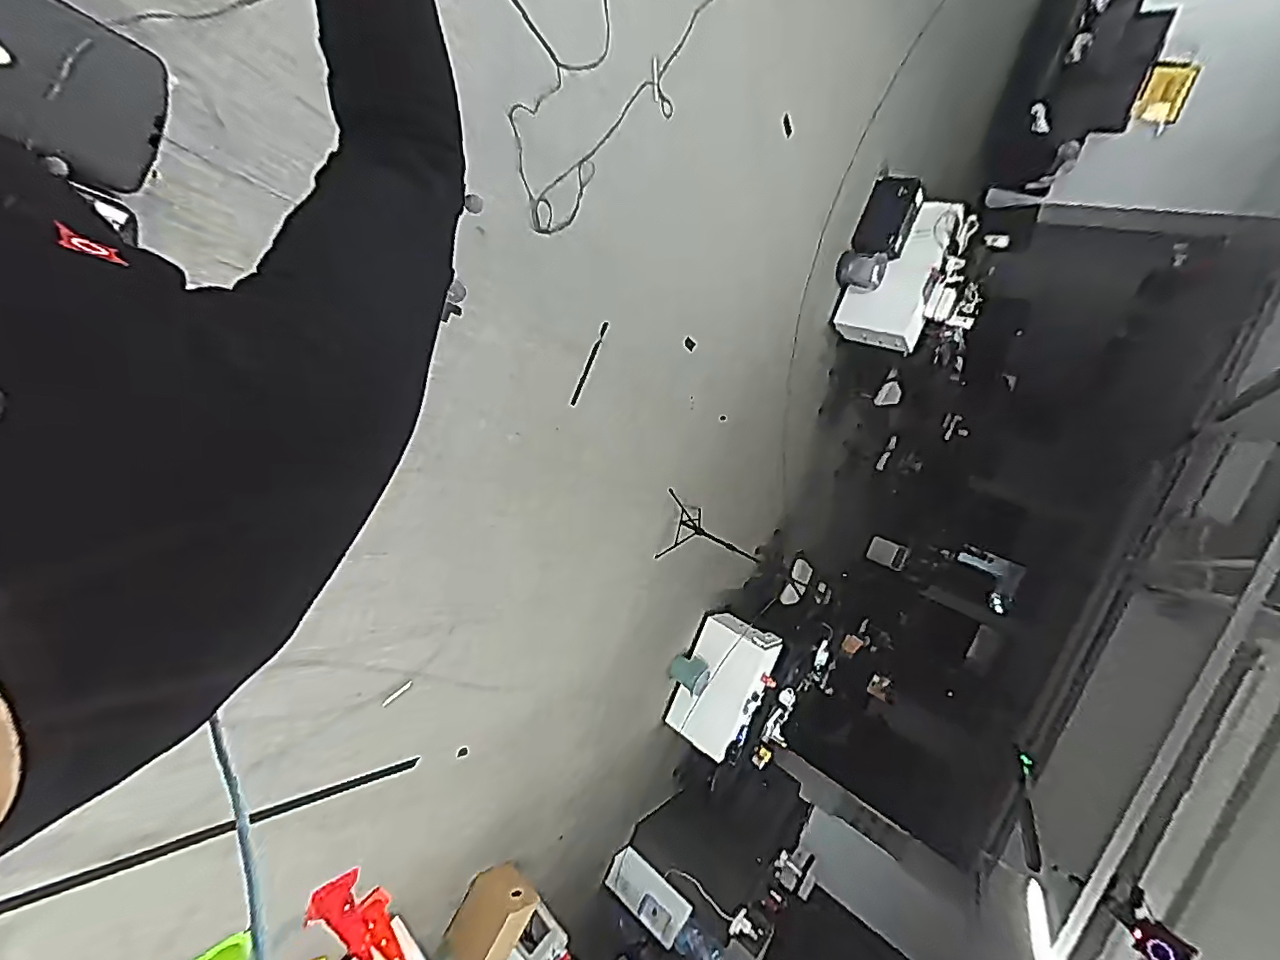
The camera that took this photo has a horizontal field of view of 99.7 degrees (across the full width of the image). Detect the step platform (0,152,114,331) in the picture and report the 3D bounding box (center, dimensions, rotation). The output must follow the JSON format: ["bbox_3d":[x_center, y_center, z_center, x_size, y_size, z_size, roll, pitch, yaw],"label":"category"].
[{"bbox_3d":[-1.288,-0.470,0.833,0.684,0.204,0.286,10,103,-55],"label":"step platform"}]
